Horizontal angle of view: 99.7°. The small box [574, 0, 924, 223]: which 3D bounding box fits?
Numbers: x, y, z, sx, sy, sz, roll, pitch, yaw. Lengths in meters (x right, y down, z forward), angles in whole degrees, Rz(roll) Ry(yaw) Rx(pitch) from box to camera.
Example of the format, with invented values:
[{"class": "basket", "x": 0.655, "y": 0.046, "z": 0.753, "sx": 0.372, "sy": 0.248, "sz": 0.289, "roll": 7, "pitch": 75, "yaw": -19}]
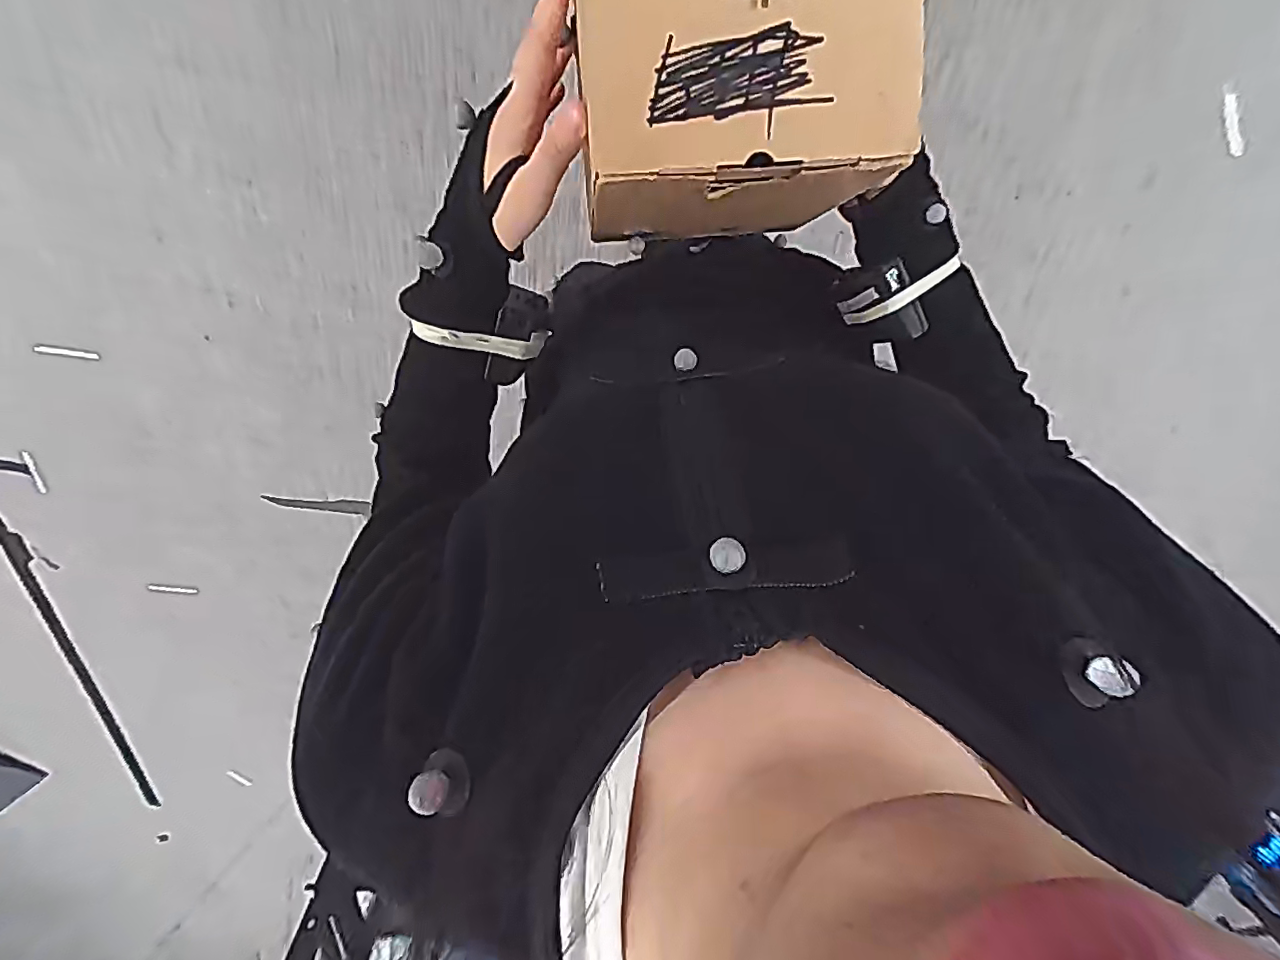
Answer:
[{"class": "small box", "x": 0.046, "y": -0.263, "z": 0.325, "sx": 0.168, "sy": 0.176, "sz": 0.179, "roll": -6, "pitch": 103, "yaw": -4}]
